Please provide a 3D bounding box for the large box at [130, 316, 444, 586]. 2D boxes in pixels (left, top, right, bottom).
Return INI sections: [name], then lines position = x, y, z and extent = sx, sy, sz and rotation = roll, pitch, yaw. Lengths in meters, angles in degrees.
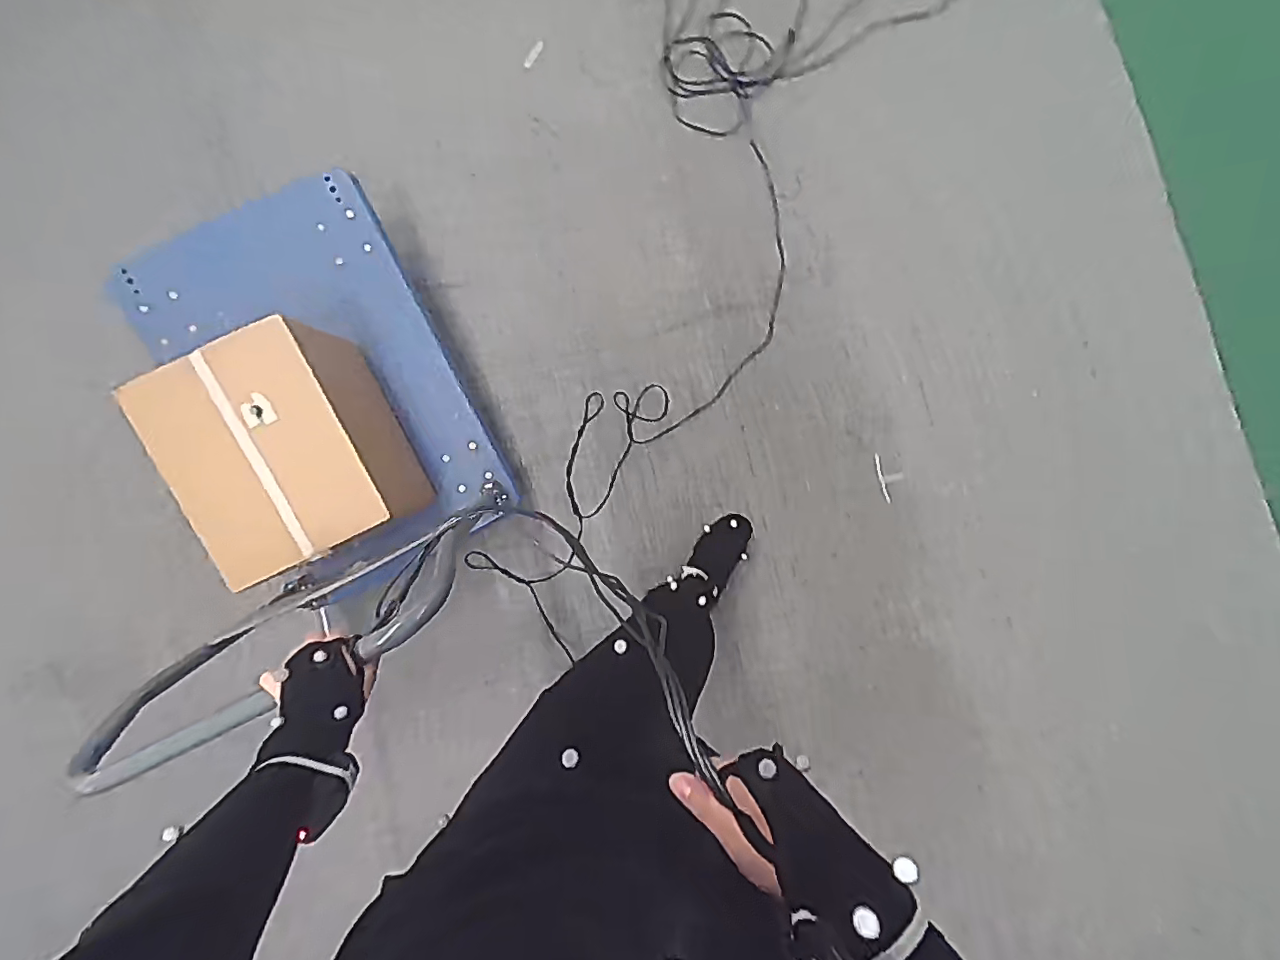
[large box]
position = -0.671, -0.057, 1.109
extent = 0.320, 0.320, 0.408
rotation = -27, 96, -3
